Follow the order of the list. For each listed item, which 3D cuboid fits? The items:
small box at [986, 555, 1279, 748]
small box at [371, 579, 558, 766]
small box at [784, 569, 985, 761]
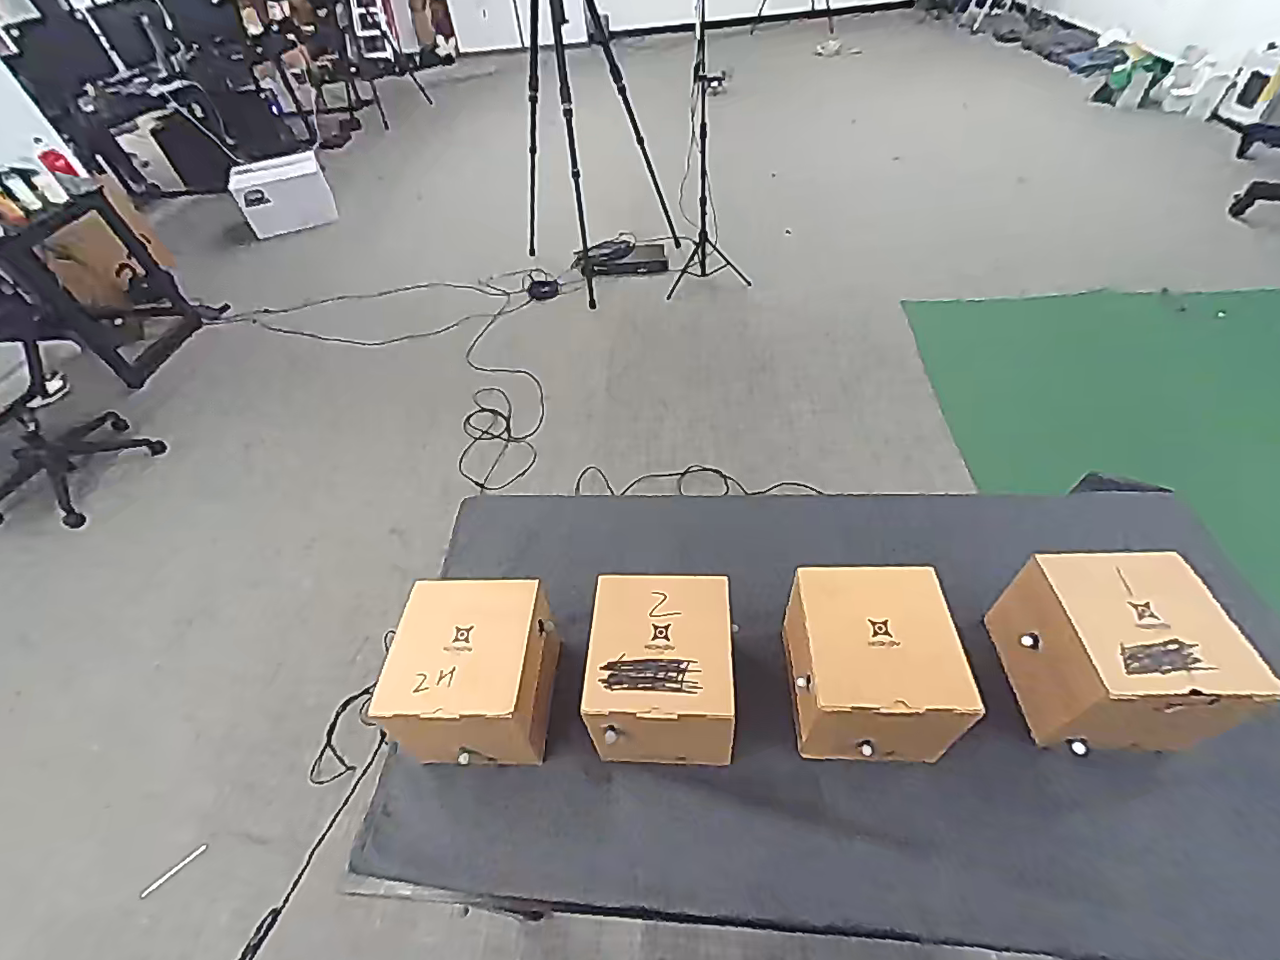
[{"bbox_3d":[0.562,0.210,0.654,0.168,0.176,0.179,-1,47,5],"label":"small box"},{"bbox_3d":[-0.207,0.248,0.698,0.168,0.176,0.179,-1,47,4],"label":"small box"},{"bbox_3d":[0.280,0.229,0.671,0.168,0.176,0.179,-1,48,5],"label":"small box"}]
